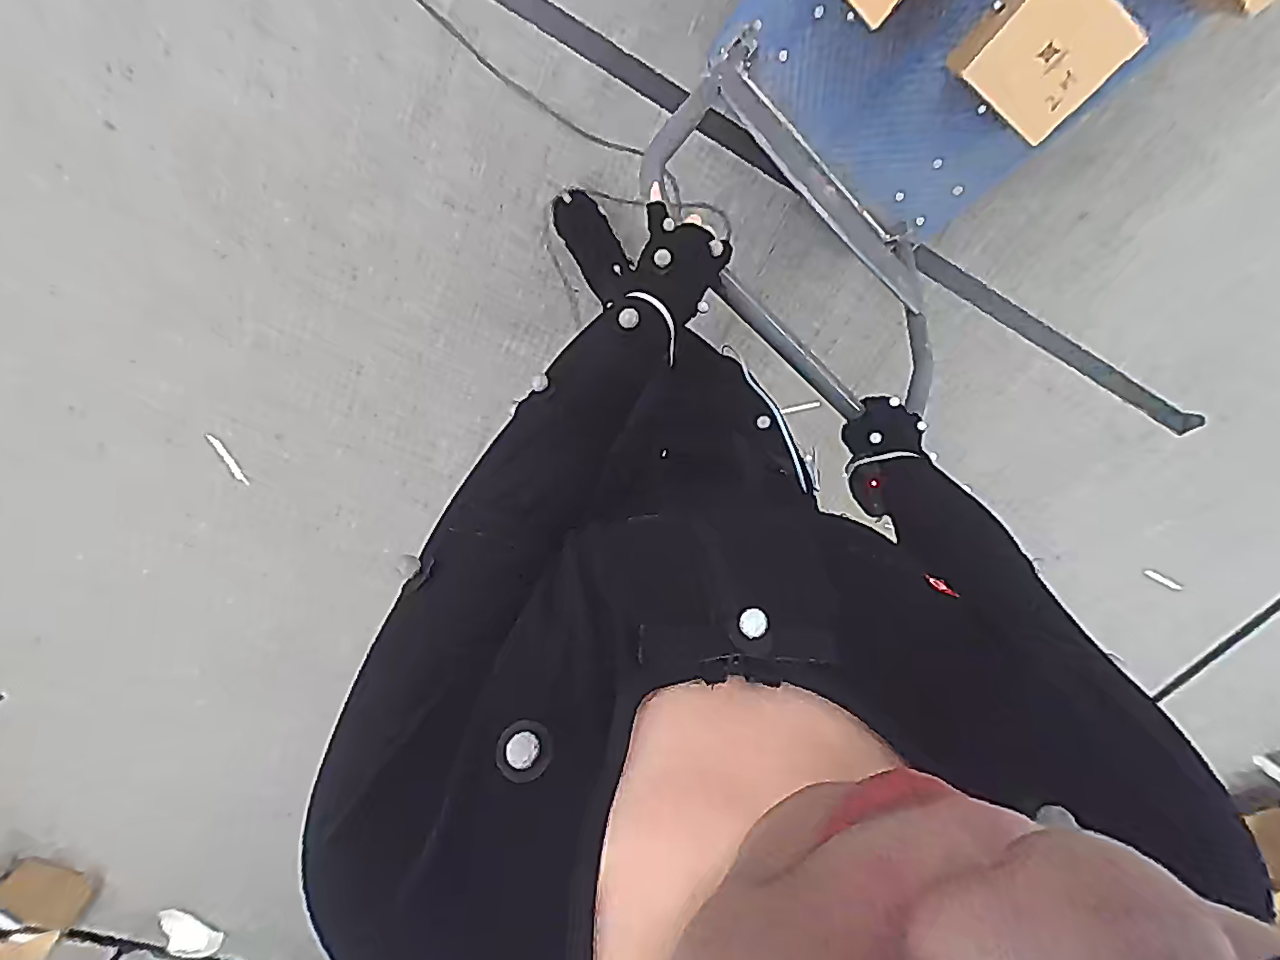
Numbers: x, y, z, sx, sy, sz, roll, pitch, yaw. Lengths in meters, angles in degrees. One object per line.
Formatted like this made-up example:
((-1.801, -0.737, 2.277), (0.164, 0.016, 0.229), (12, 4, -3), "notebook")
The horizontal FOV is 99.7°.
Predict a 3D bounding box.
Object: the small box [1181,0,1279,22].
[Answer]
((0.833, -0.756, 0.705), (0.168, 0.176, 0.179), (39, 133, -17), "small box")

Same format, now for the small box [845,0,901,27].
((0.356, -0.824, 0.802), (0.179, 0.176, 0.168), (36, 132, -17), "small box")

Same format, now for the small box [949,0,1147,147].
((0.624, -0.672, 0.853), (0.179, 0.176, 0.168), (33, 133, -13), "small box")
